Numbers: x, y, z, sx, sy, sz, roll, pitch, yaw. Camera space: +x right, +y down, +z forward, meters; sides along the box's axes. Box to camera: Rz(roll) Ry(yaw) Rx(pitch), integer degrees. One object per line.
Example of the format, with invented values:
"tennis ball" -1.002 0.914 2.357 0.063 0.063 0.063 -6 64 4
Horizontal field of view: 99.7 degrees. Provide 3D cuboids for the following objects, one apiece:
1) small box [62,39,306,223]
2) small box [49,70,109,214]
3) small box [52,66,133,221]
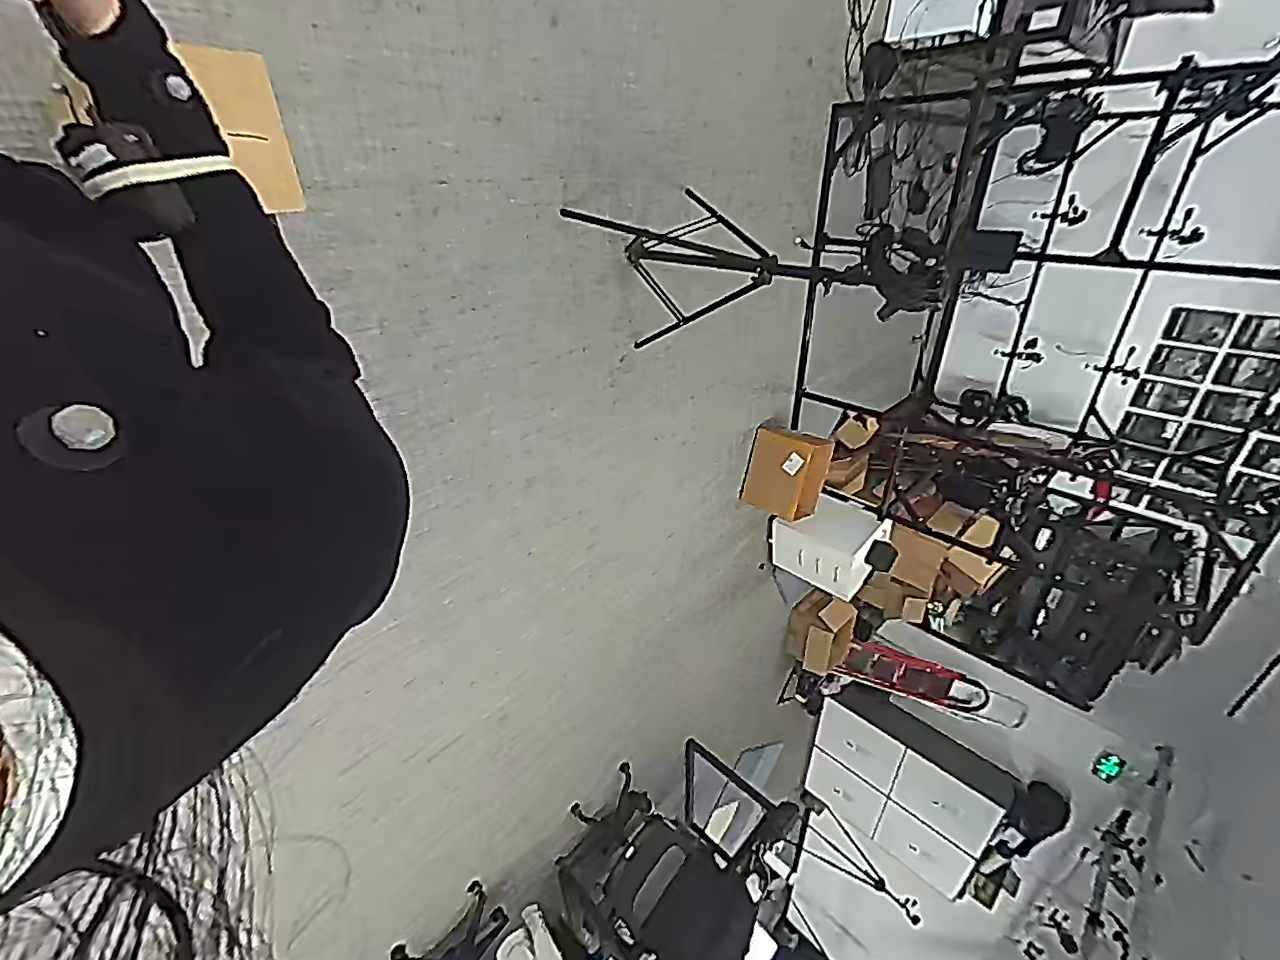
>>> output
"small box" -0.552 -0.408 0.661 0.179 0.176 0.168 -28 128 -39
"small box" -0.789 -0.520 0.858 0.168 0.176 0.179 -24 126 -39
"small box" -0.671 -0.459 0.763 0.179 0.176 0.168 -25 127 -38
